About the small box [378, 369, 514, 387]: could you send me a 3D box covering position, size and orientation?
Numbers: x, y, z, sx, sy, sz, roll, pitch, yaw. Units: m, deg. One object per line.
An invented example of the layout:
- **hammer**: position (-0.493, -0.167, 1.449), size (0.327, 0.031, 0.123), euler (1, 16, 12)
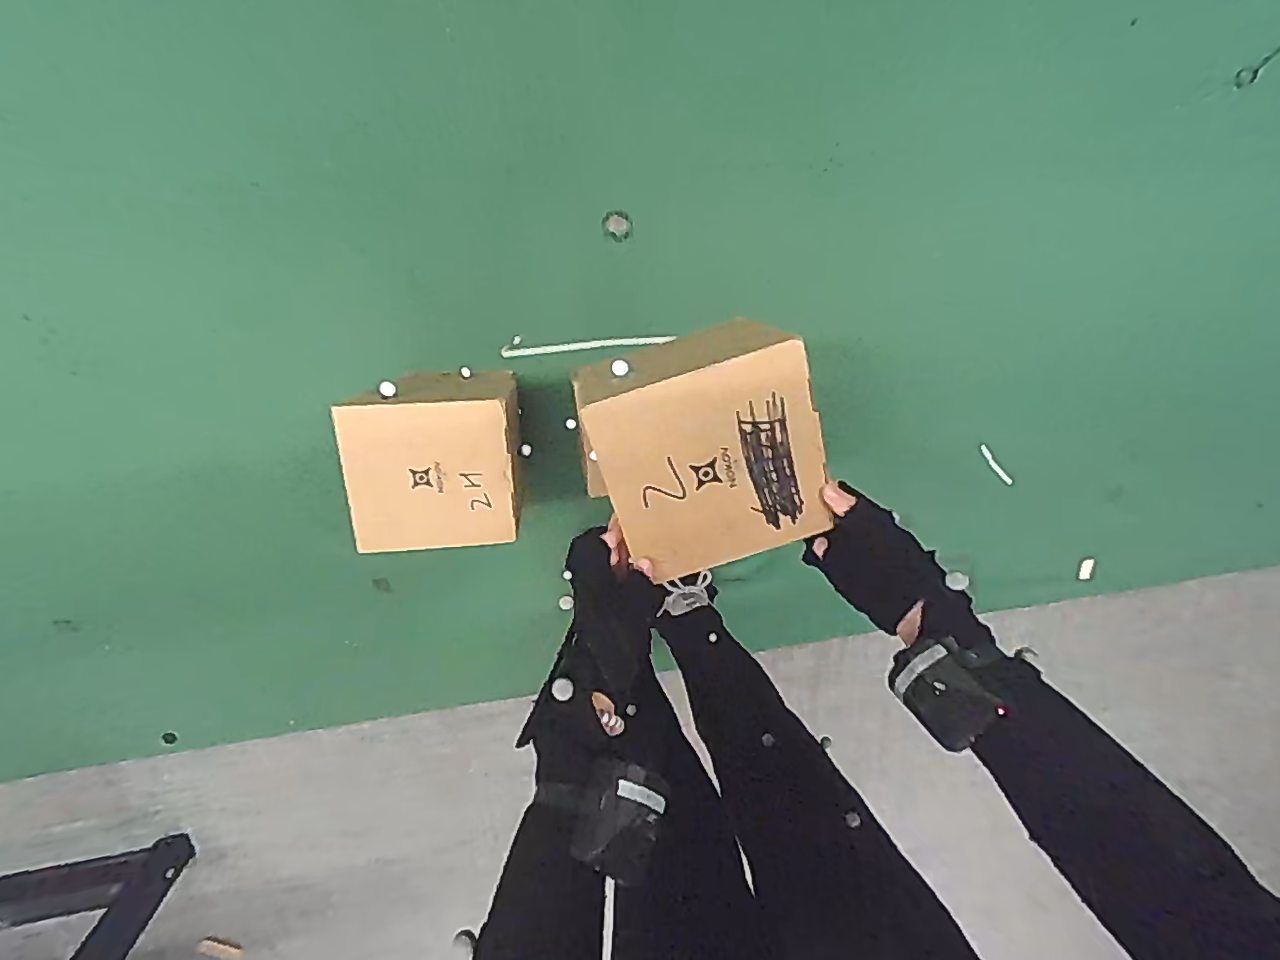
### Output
- **small box**: position (-0.277, -0.070, 0.819), size (0.168, 0.176, 0.179), euler (-2, 107, -8)

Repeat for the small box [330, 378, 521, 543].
- **small box**: position (-0.244, -0.033, 0.661), size (0.179, 0.176, 0.168), euler (-3, 107, -8)

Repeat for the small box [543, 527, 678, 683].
- **small box**: position (-0.053, 0.217, 0.961), size (0.179, 0.176, 0.168), euler (32, 109, 1)
